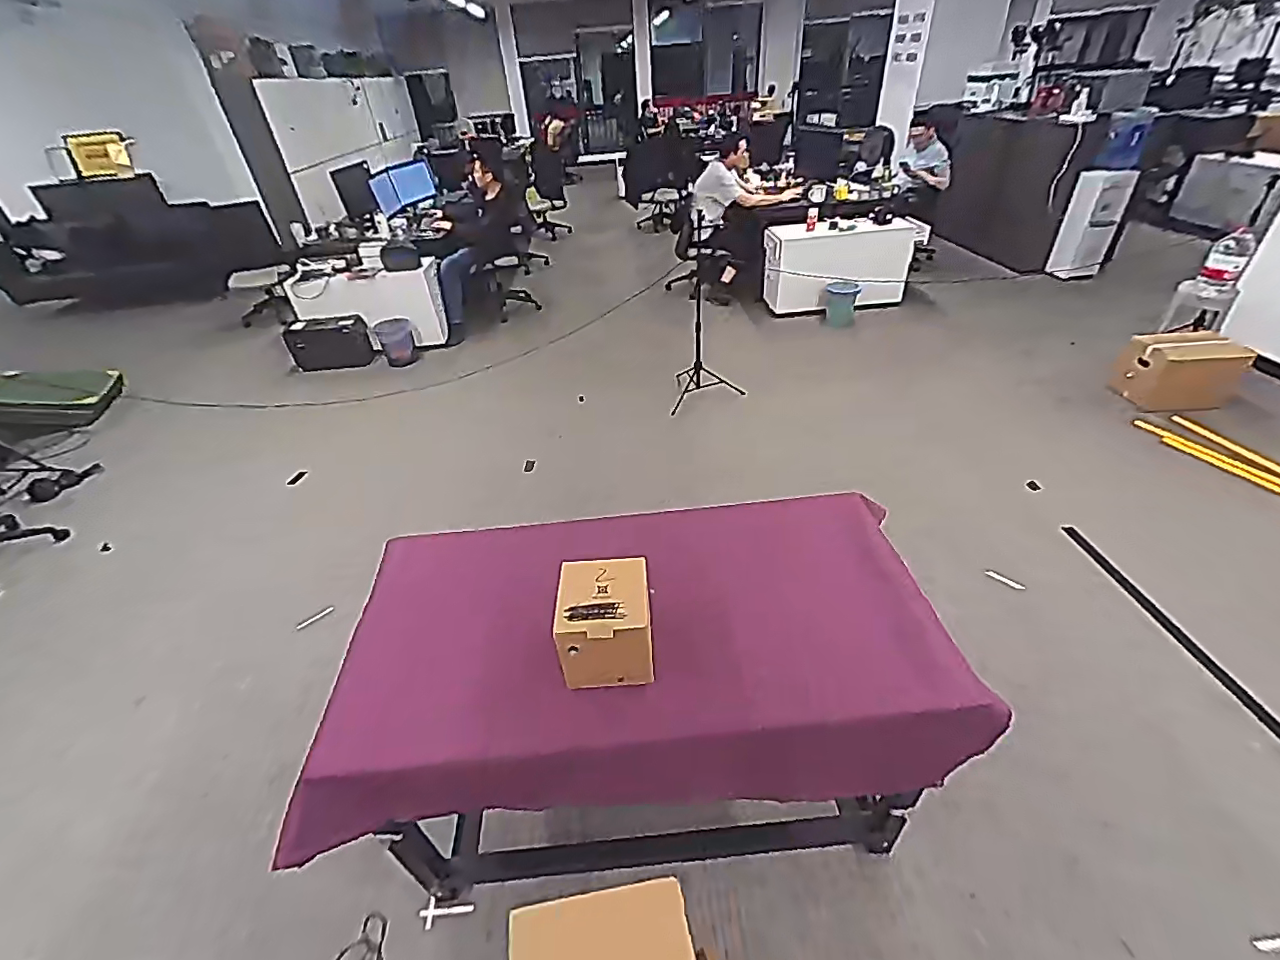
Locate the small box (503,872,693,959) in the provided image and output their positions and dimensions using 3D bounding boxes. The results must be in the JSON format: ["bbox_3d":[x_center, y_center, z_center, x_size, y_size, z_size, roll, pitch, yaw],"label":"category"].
[{"bbox_3d":[-0.037,0.526,0.516,0.179,0.176,0.168,-3,25,-11],"label":"small box"}]
